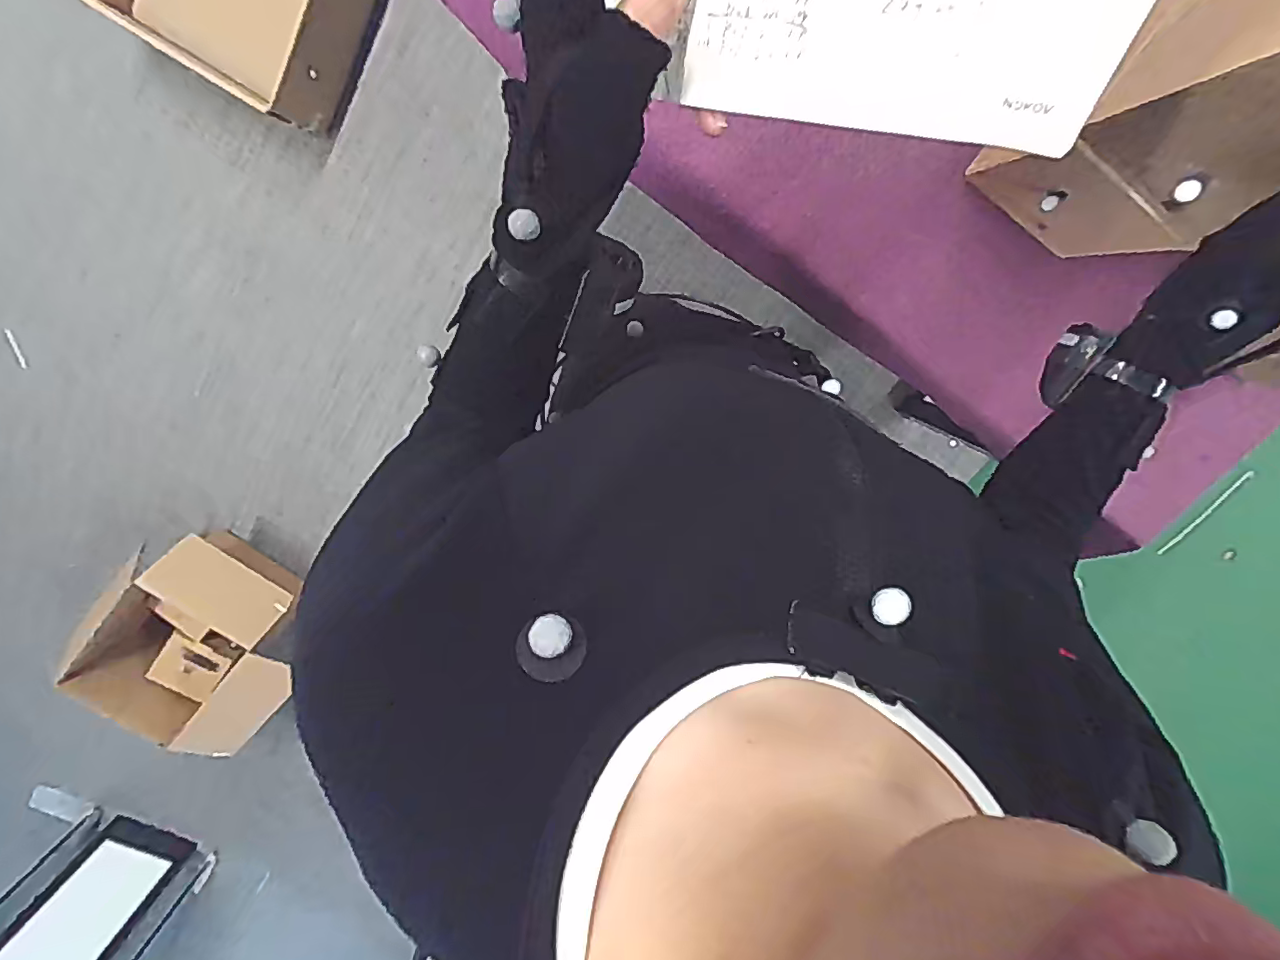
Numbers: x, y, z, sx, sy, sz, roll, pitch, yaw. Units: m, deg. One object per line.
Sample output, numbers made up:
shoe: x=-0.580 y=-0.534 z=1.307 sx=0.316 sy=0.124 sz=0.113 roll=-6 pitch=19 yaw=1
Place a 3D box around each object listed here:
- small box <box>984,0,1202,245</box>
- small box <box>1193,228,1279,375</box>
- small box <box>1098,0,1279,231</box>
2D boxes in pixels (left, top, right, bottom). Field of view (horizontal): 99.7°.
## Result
small box: x=0.485 y=-0.355 z=0.531 sx=0.168 sy=0.176 sz=0.179 roll=31 pitch=106 yaw=-11
small box: x=0.770 y=-0.218 z=0.582 sx=0.168 sy=0.176 sz=0.179 roll=34 pitch=106 yaw=-12
small box: x=0.492 y=-0.303 z=0.375 sx=0.168 sy=0.176 sz=0.179 roll=34 pitch=106 yaw=-12
